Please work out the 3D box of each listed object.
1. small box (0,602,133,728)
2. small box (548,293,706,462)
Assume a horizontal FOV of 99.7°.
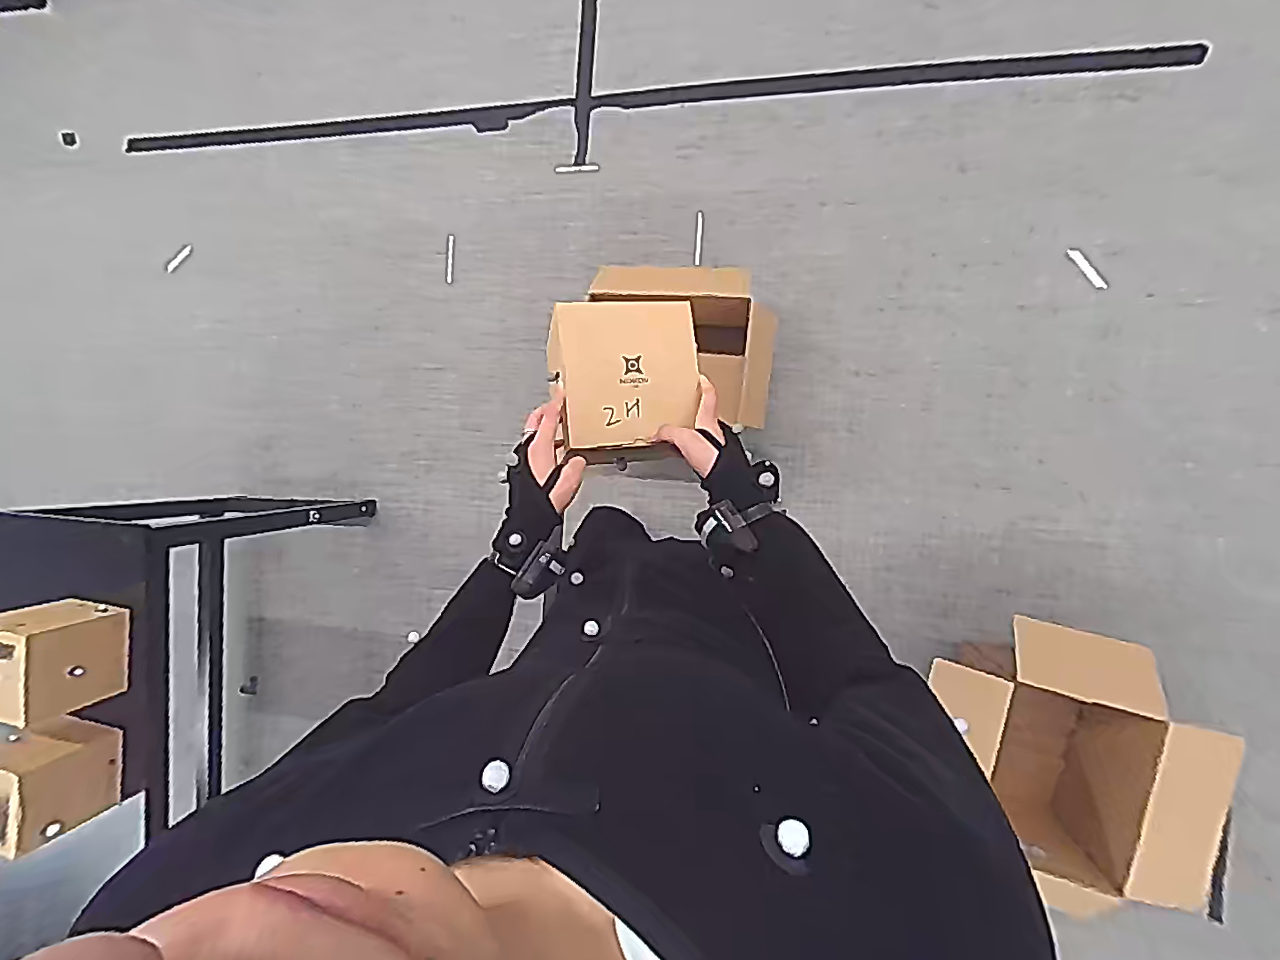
[{"bbox_3d":[-1.155,0.353,1.070,0.168,0.176,0.179,5,95,12],"label":"small box"},{"bbox_3d":[-0.028,-0.125,0.704,0.168,0.176,0.179,-6,87,-13],"label":"small box"}]
